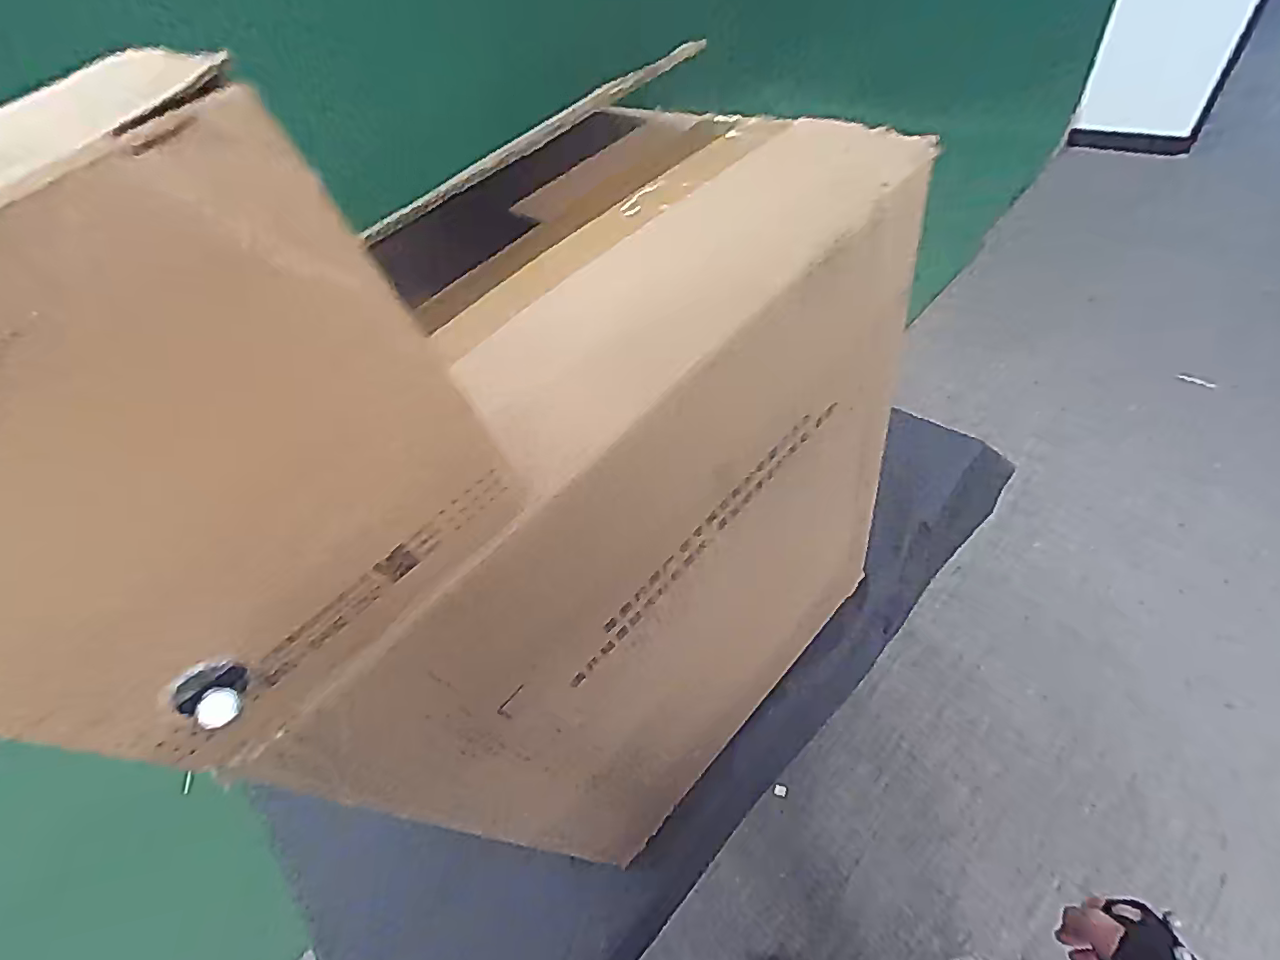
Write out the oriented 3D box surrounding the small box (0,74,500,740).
[{"bbox_3d":[-0.188,-0.025,0.217,0.168,0.176,0.179,-42,52,-16],"label":"small box"}]
